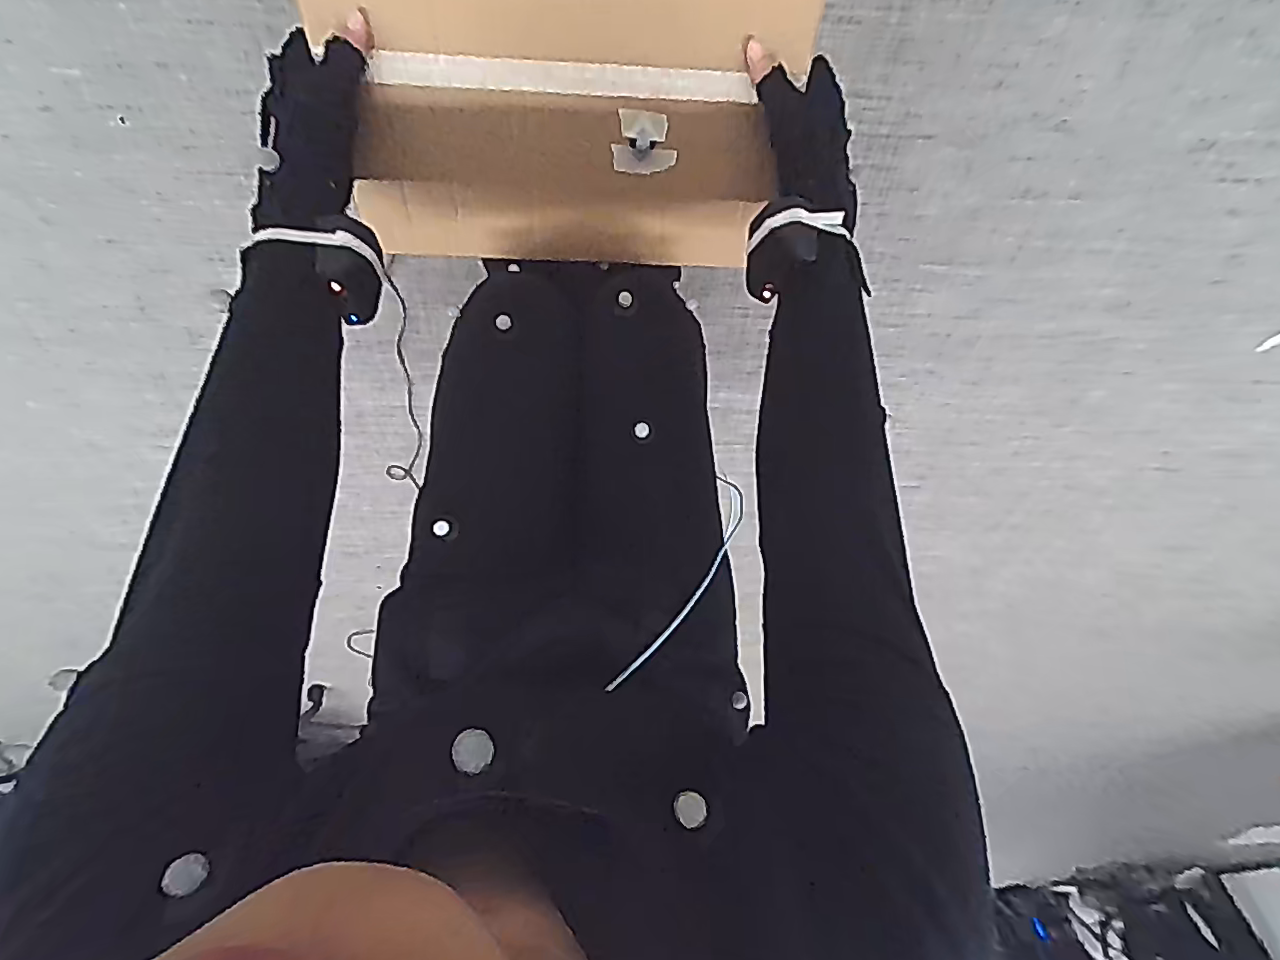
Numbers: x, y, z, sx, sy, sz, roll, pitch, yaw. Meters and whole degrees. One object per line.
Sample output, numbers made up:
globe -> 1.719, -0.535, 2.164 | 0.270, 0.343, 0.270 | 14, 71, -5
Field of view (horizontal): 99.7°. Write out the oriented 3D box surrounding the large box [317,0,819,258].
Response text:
large box -> -0.065, -0.448, 0.567 | 0.408, 0.320, 0.320 | 0, 135, -4
